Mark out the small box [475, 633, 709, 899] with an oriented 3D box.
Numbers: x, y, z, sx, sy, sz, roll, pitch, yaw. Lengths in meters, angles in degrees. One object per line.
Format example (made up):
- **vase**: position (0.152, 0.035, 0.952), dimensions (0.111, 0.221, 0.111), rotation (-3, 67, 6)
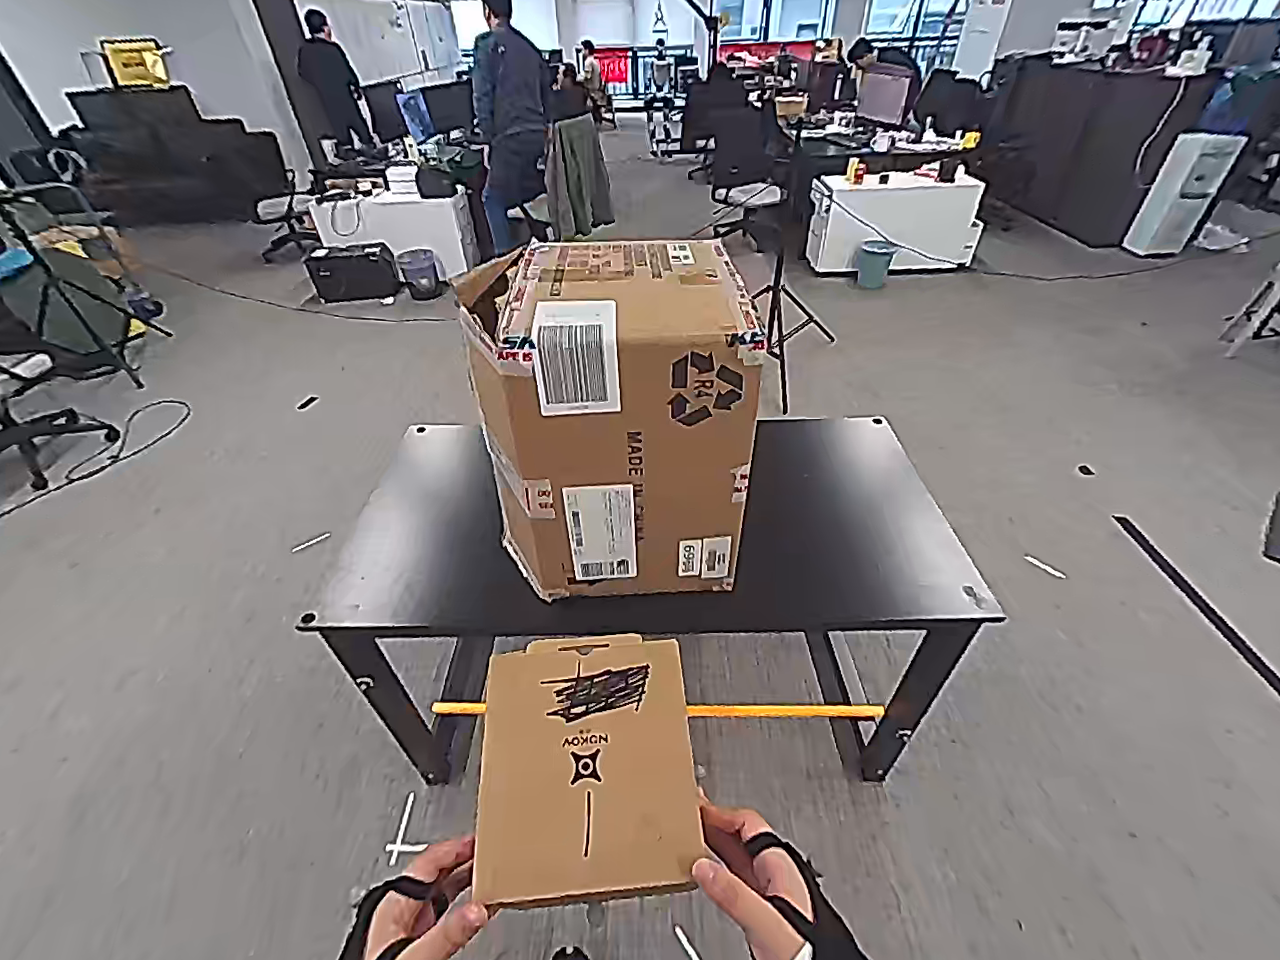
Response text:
- **small box**: position (-0.038, 0.258, 0.486), dimensions (0.168, 0.176, 0.179), rotation (-5, 51, -2)
